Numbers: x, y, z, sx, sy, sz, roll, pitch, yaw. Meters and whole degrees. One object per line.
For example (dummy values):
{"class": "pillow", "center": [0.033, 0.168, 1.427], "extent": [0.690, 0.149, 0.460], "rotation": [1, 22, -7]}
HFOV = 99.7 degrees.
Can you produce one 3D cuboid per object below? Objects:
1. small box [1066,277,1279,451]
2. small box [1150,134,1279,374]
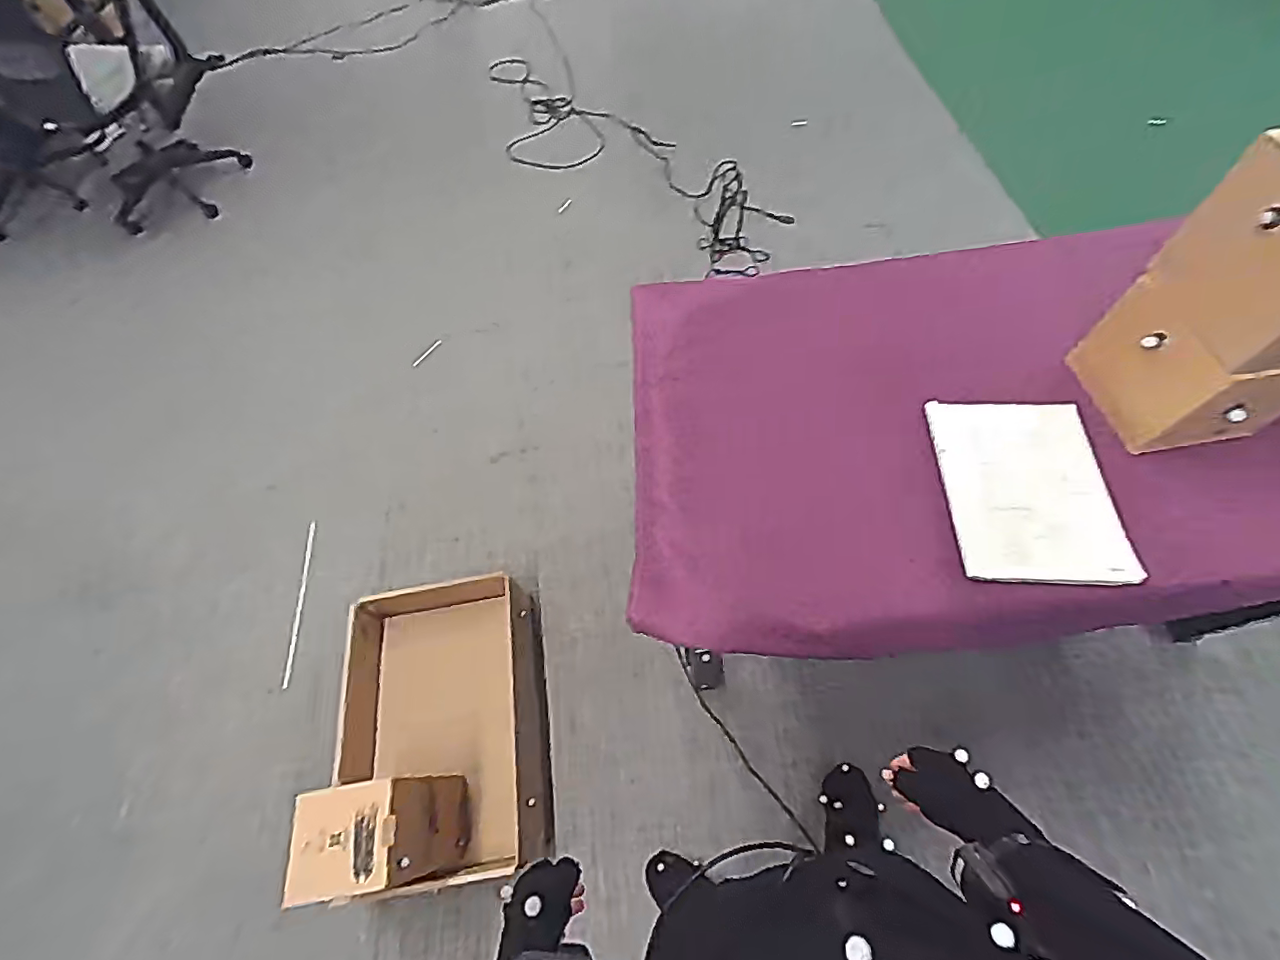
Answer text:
{"class": "small box", "center": [0.721, -0.153, 0.705], "extent": [0.168, 0.176, 0.179], "rotation": [-10, 61, 2]}
{"class": "small box", "center": [0.706, -0.236, 0.563], "extent": [0.168, 0.176, 0.179], "rotation": [-7, 61, 3]}
